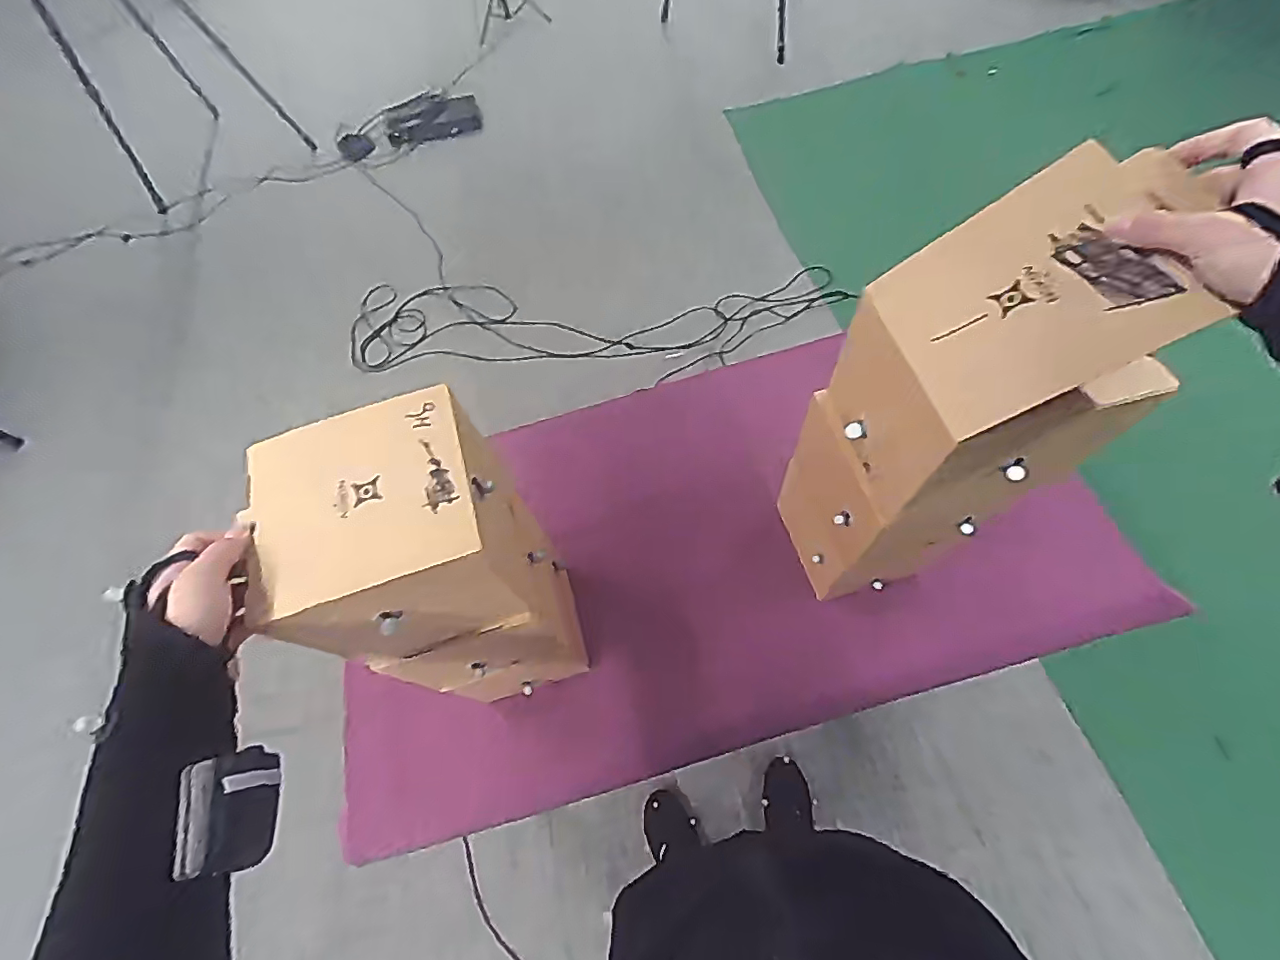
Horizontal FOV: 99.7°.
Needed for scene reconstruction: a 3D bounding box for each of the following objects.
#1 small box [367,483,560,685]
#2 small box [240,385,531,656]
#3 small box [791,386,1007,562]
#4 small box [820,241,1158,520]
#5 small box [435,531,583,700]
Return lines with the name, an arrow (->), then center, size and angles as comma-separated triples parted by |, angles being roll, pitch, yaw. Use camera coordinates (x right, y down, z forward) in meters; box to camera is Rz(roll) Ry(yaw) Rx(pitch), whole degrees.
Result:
small box -> -0.205, 0.125, 0.644 | 0.168, 0.176, 0.179 | -18, 63, -3
small box -> -0.221, 0.048, 0.500 | 0.179, 0.176, 0.168 | -19, 63, -3
small box -> 0.299, -0.014, 0.654 | 0.168, 0.176, 0.179 | -17, 62, -2
small box -> 0.292, -0.082, 0.505 | 0.179, 0.176, 0.168 | -15, 62, 0
small box -> -0.190, 0.201, 0.786 | 0.168, 0.176, 0.179 | -16, 62, -2
